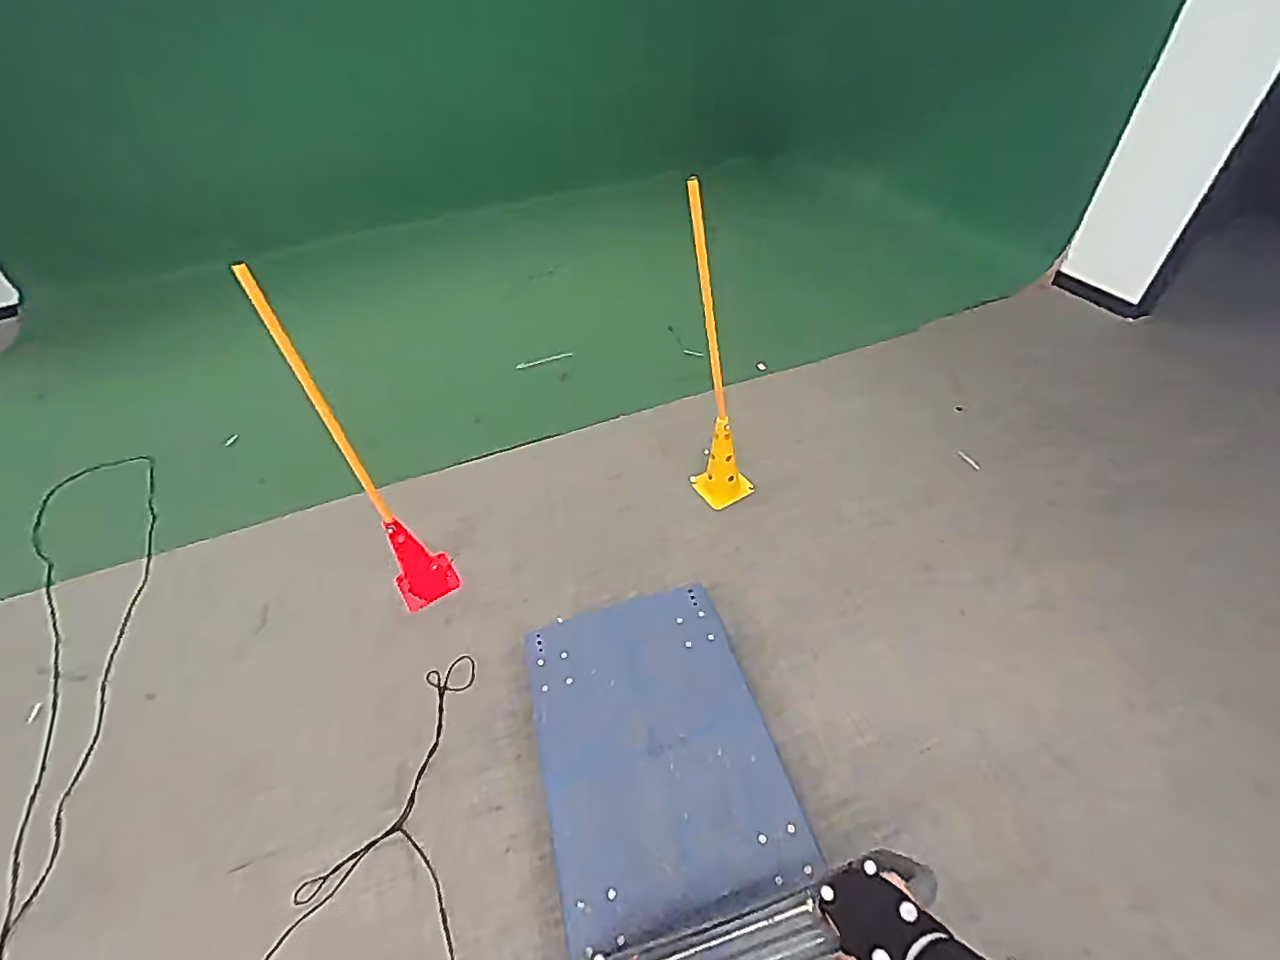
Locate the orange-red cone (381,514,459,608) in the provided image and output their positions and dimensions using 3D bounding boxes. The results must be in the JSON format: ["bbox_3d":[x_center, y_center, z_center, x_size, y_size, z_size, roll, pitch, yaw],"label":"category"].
[{"bbox_3d":[-0.800,0.246,1.866,0.199,0.360,0.198,-30,49,-19],"label":"orange-red cone"}]
